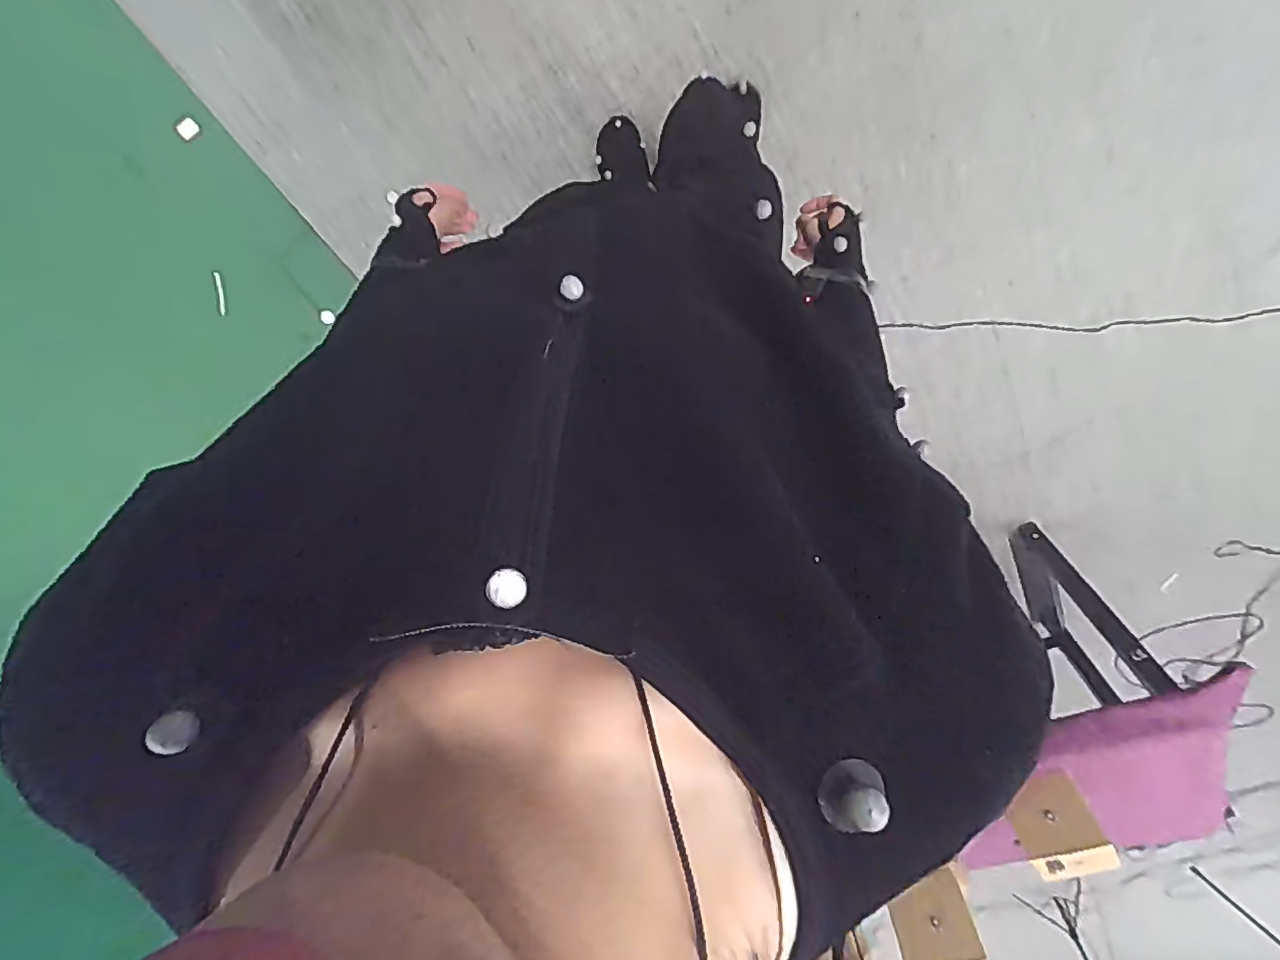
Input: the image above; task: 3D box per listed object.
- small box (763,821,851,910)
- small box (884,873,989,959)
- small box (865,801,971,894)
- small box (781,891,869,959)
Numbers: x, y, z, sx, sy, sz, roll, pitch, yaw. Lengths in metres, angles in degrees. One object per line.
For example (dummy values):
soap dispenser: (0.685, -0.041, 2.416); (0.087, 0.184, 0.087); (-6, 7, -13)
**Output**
small box: (0.456, 1.081, 1.499); (0.179, 0.176, 0.168); (-29, 120, 20)
small box: (0.696, 1.061, 1.279); (0.179, 0.176, 0.168); (-19, 124, 13)
small box: (0.723, 0.974, 1.418); (0.168, 0.176, 0.179); (-32, 120, 21)
small box: (0.469, 1.176, 1.366); (0.179, 0.176, 0.168); (-24, 122, 16)
